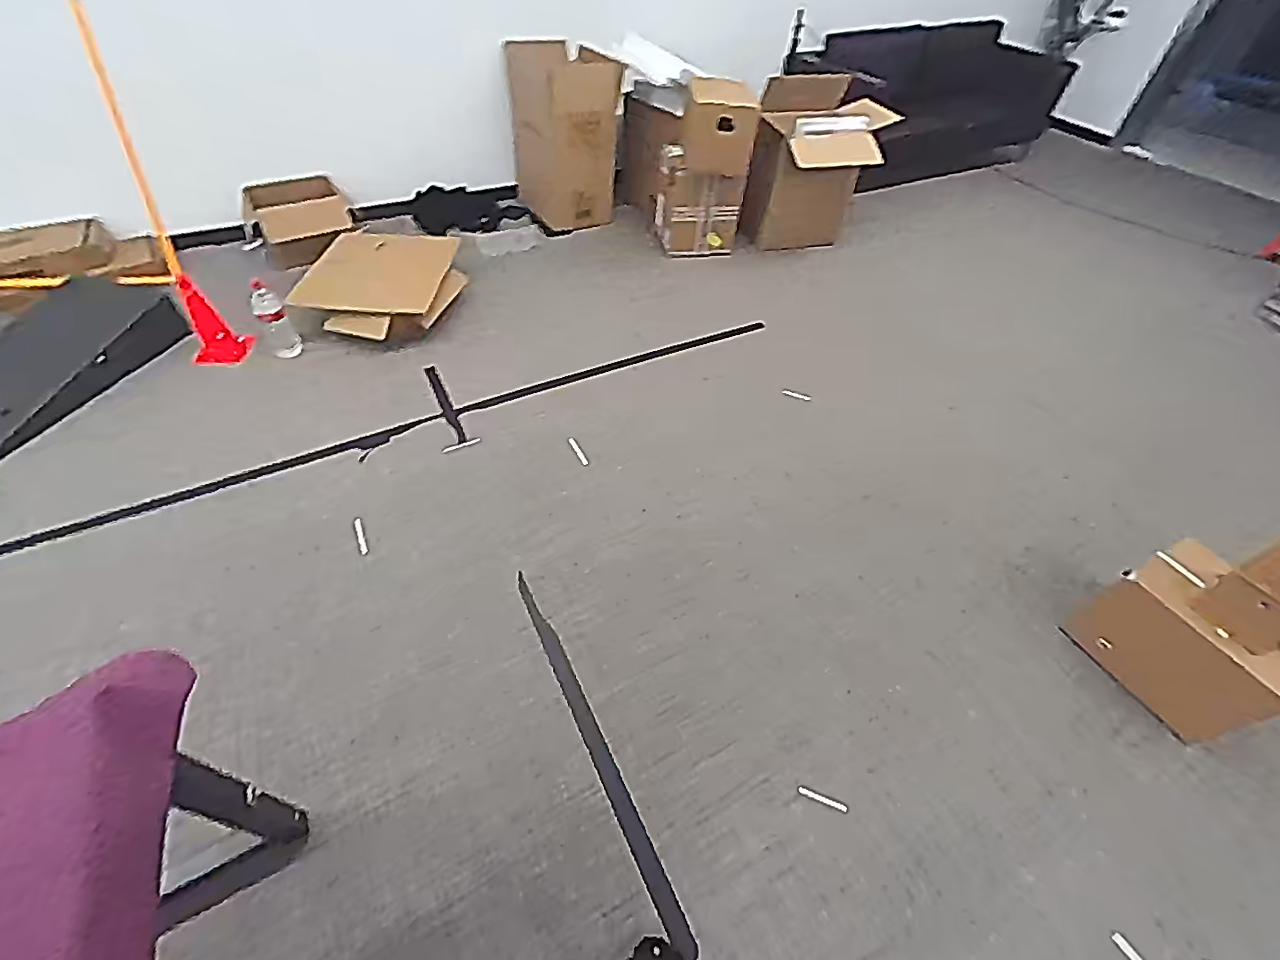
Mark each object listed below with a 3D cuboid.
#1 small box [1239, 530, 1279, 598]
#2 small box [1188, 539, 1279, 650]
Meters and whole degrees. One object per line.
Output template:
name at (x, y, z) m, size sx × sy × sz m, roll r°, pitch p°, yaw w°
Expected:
small box at (1.540, 0.178, 1.220) m, size 0.179 × 0.176 × 0.168 m, roll -22°, pitch 53°, yaw -20°
small box at (1.543, 0.285, 1.341) m, size 0.168 × 0.176 × 0.179 m, roll -23°, pitch 54°, yaw -21°
